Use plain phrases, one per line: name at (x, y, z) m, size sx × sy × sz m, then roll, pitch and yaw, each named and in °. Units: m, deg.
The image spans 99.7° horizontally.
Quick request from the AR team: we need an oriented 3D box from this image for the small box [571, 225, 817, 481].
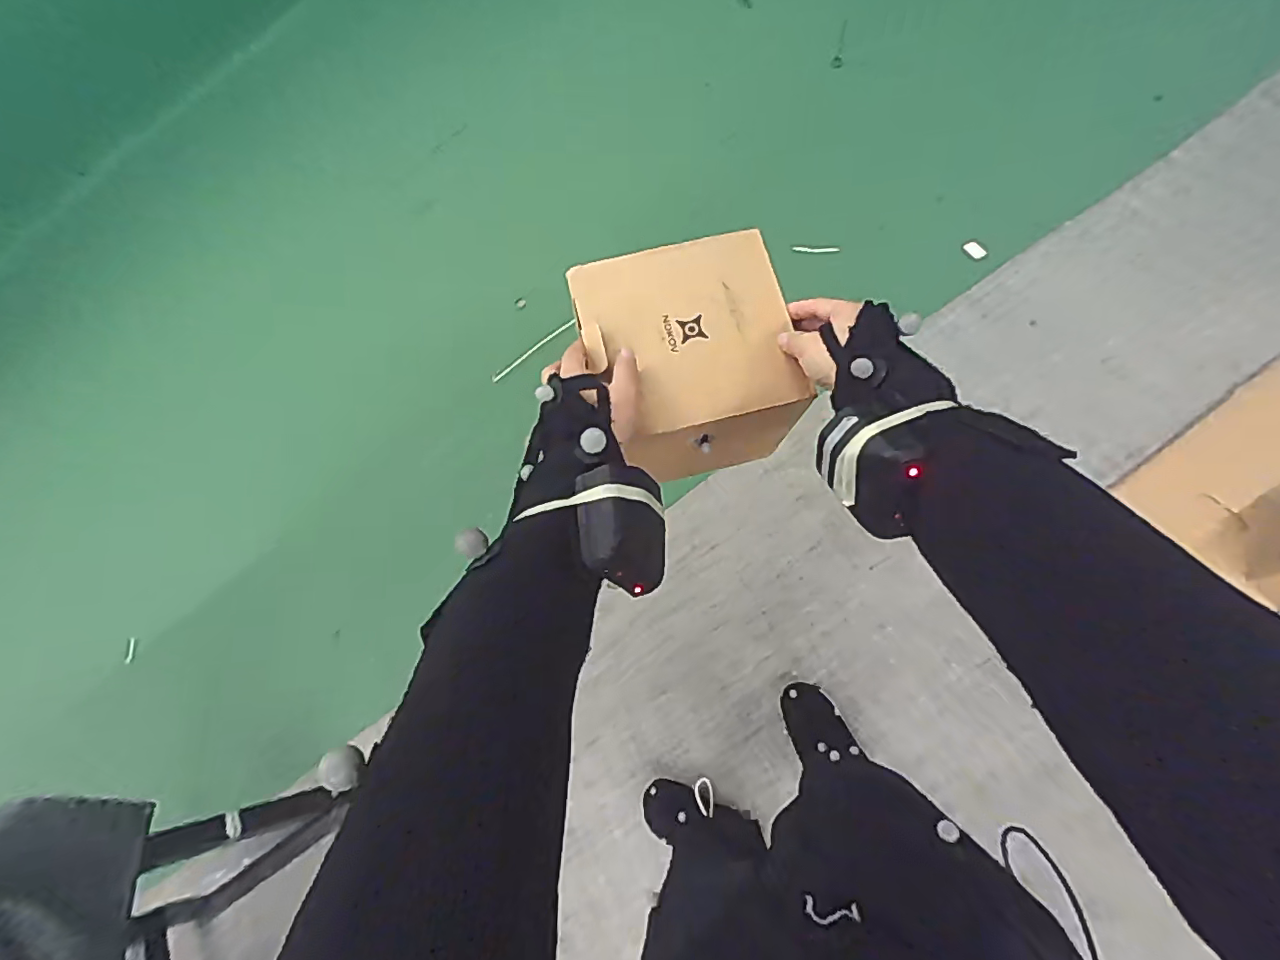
small box at (0.042, -0.108, 0.524) m, size 0.179 × 0.176 × 0.168 m, roll -13°, pitch 77°, yaw -4°
